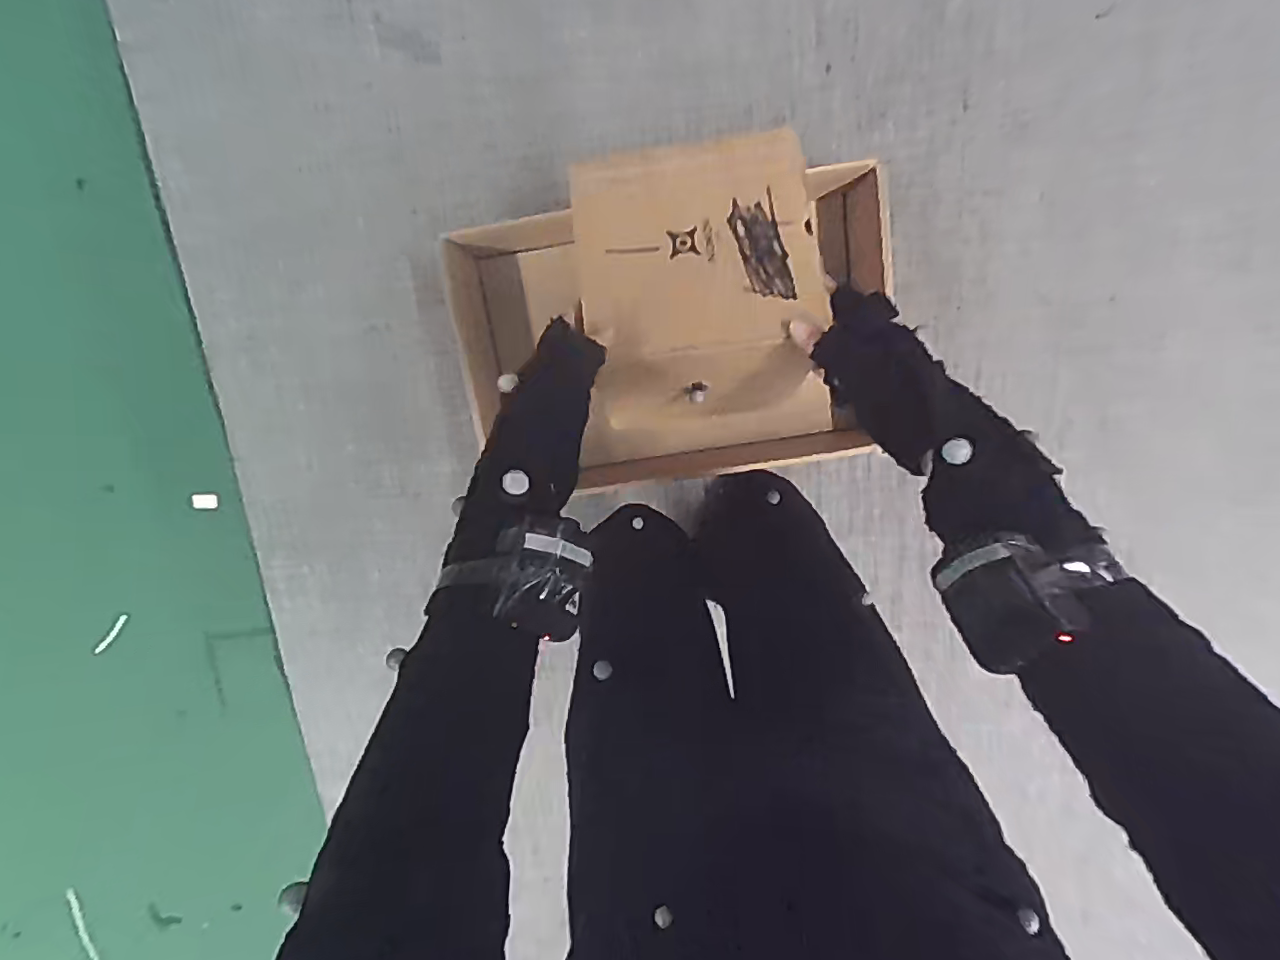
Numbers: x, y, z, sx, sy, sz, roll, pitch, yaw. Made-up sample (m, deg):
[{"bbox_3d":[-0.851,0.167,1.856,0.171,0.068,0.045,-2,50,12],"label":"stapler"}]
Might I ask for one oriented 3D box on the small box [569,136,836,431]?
[{"bbox_3d":[0.046,-0.147,0.459,0.179,0.176,0.168,-6,80,4],"label":"small box"}]
